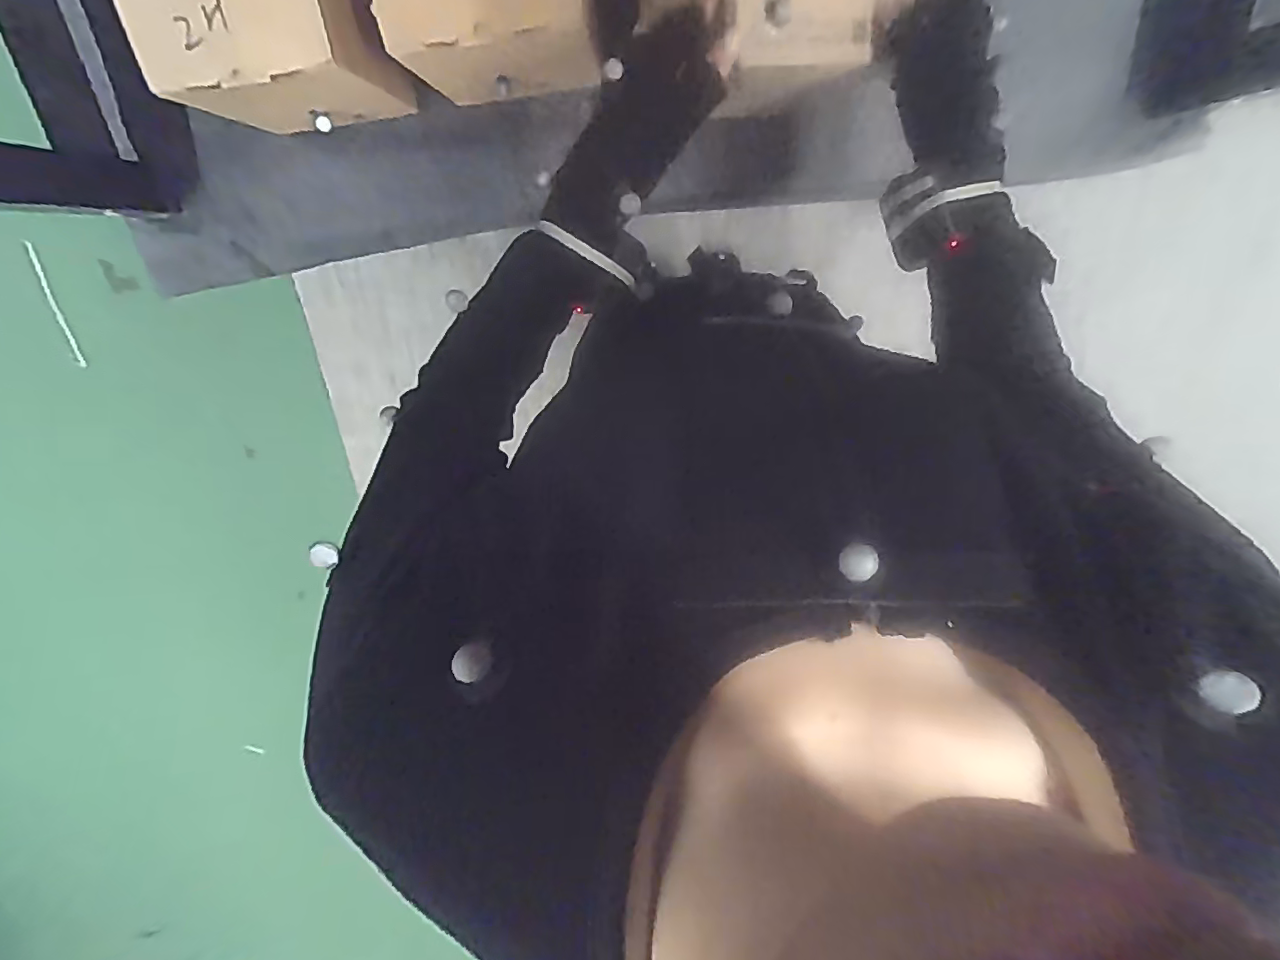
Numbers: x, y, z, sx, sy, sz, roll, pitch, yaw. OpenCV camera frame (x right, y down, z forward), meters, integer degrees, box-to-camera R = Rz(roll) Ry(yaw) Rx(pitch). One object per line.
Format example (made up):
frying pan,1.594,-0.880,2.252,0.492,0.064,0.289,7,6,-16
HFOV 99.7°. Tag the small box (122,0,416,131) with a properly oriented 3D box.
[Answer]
small box,-0.332,-0.445,0.491,0.168,0.176,0.179,-5,112,4
